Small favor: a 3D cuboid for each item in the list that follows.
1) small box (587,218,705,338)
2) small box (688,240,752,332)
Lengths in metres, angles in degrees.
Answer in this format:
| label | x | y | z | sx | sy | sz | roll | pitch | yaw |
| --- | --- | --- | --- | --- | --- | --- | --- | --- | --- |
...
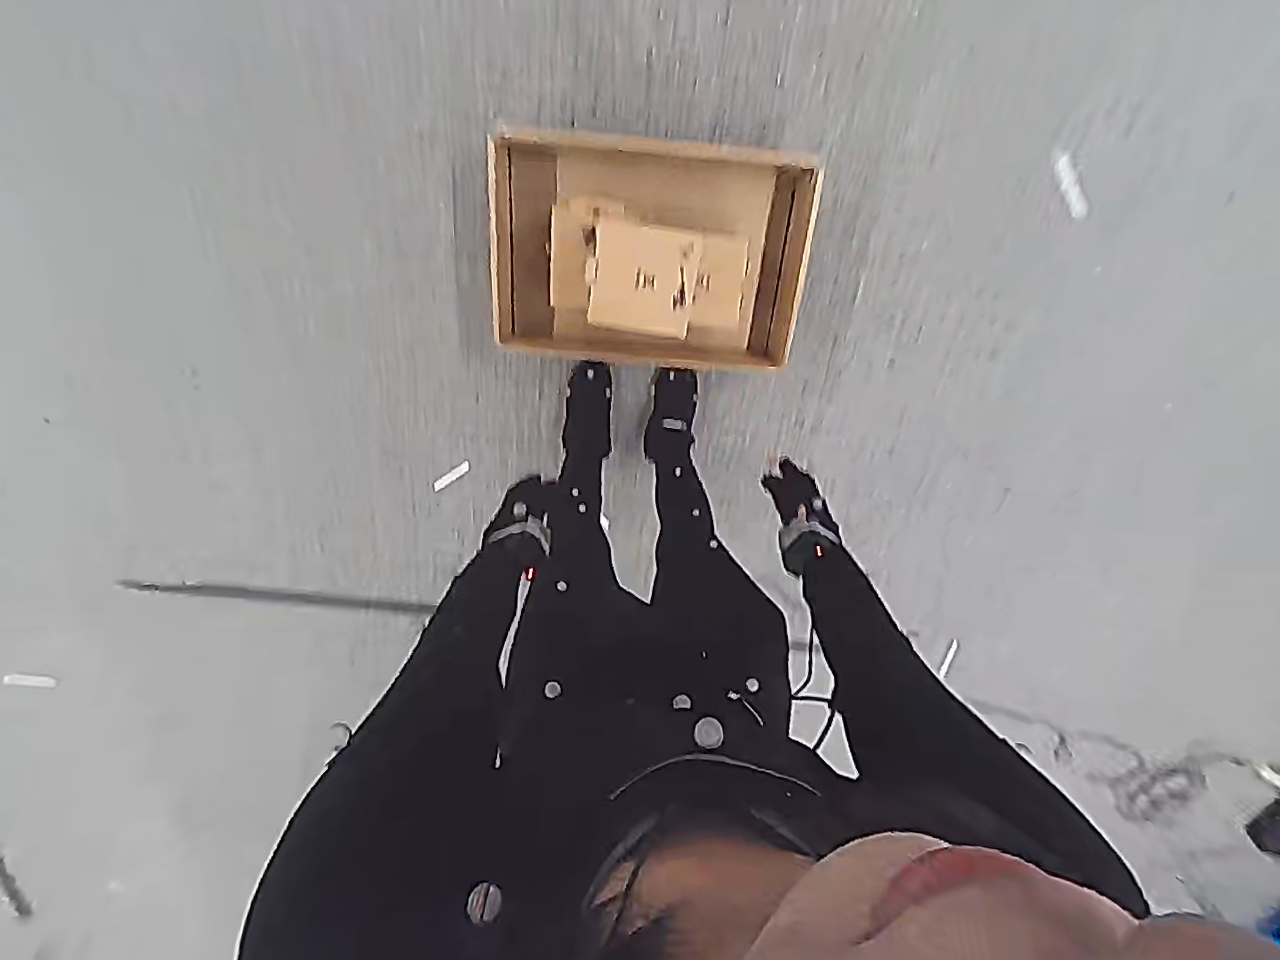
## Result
| label | x | y | z | sx | sy | sz | roll | pitch | yaw |
| --- | --- | --- | --- | --- | --- | --- | --- | --- | --- |
| small box | 0.007 | -0.361 | 0.968 | 0.179 | 0.176 | 0.168 | 8 | 113 | -5 |
| small box | 0.122 | -0.411 | 1.127 | 0.179 | 0.176 | 0.168 | 5 | 113 | 0 |
